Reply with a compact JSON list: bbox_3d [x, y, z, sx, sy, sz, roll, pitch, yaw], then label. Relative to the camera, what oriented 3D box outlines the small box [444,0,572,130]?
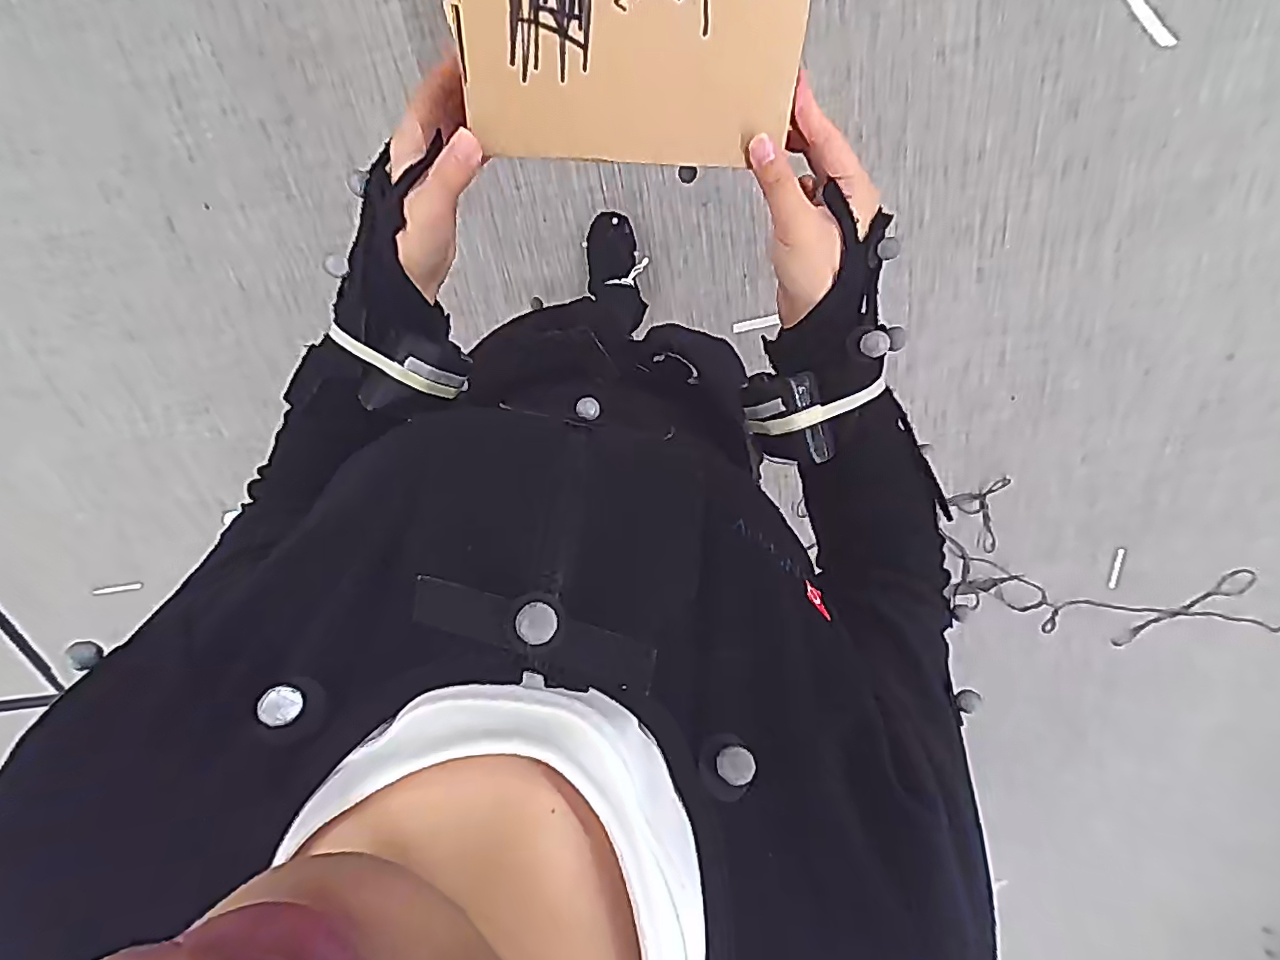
[{"bbox_3d":[-0.229,-0.765,0.997,0.179,0.176,0.168,-10,116,5],"label":"small box"}]
